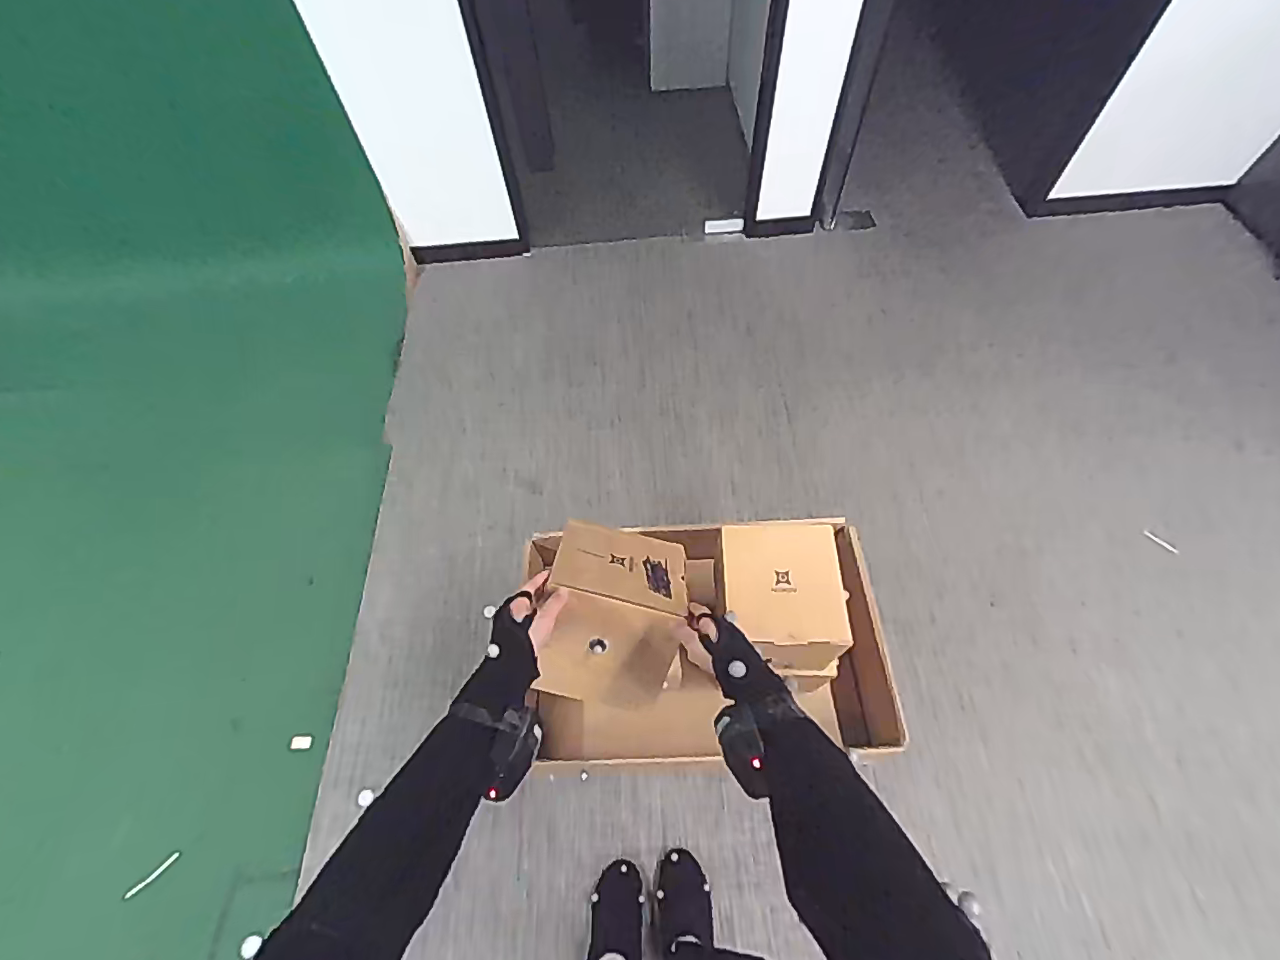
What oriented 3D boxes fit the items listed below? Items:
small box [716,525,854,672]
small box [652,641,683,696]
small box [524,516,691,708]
[{"bbox_3d":[0.207,0.183,0.825,0.168,0.176,0.179,-1,59,3],"label":"small box"},{"bbox_3d":[-0.018,0.282,0.964,0.168,0.176,0.179,-6,59,-1],"label":"small box"},{"bbox_3d":[-0.041,0.176,0.729,0.179,0.176,0.168,15,22,-4],"label":"small box"}]
